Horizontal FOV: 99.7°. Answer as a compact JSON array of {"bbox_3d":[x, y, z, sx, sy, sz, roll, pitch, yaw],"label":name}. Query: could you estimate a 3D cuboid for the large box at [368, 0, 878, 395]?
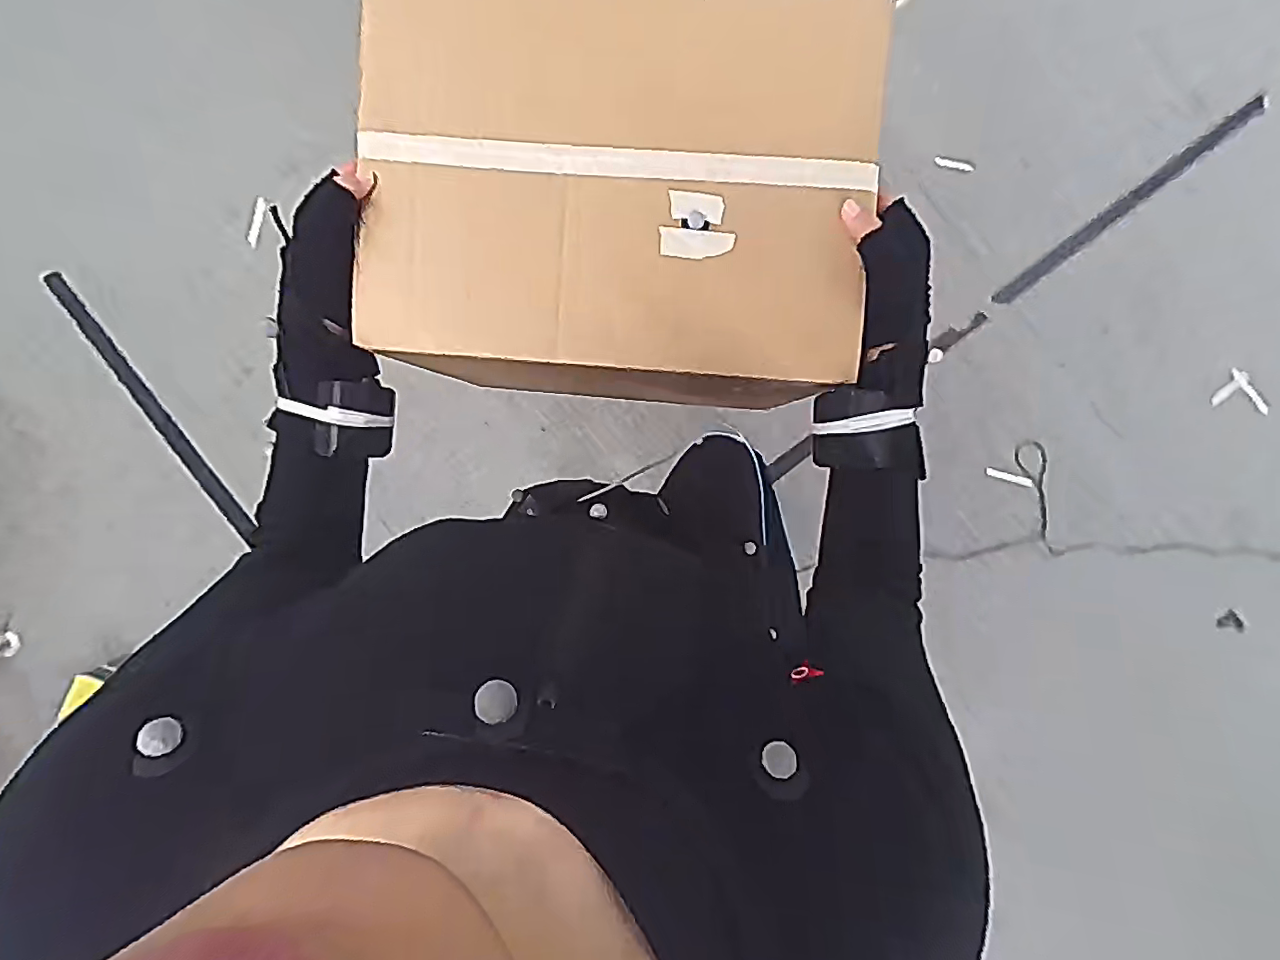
[{"bbox_3d":[-0.018,-0.267,0.580,0.408,0.320,0.320,4,95,0],"label":"large box"}]
